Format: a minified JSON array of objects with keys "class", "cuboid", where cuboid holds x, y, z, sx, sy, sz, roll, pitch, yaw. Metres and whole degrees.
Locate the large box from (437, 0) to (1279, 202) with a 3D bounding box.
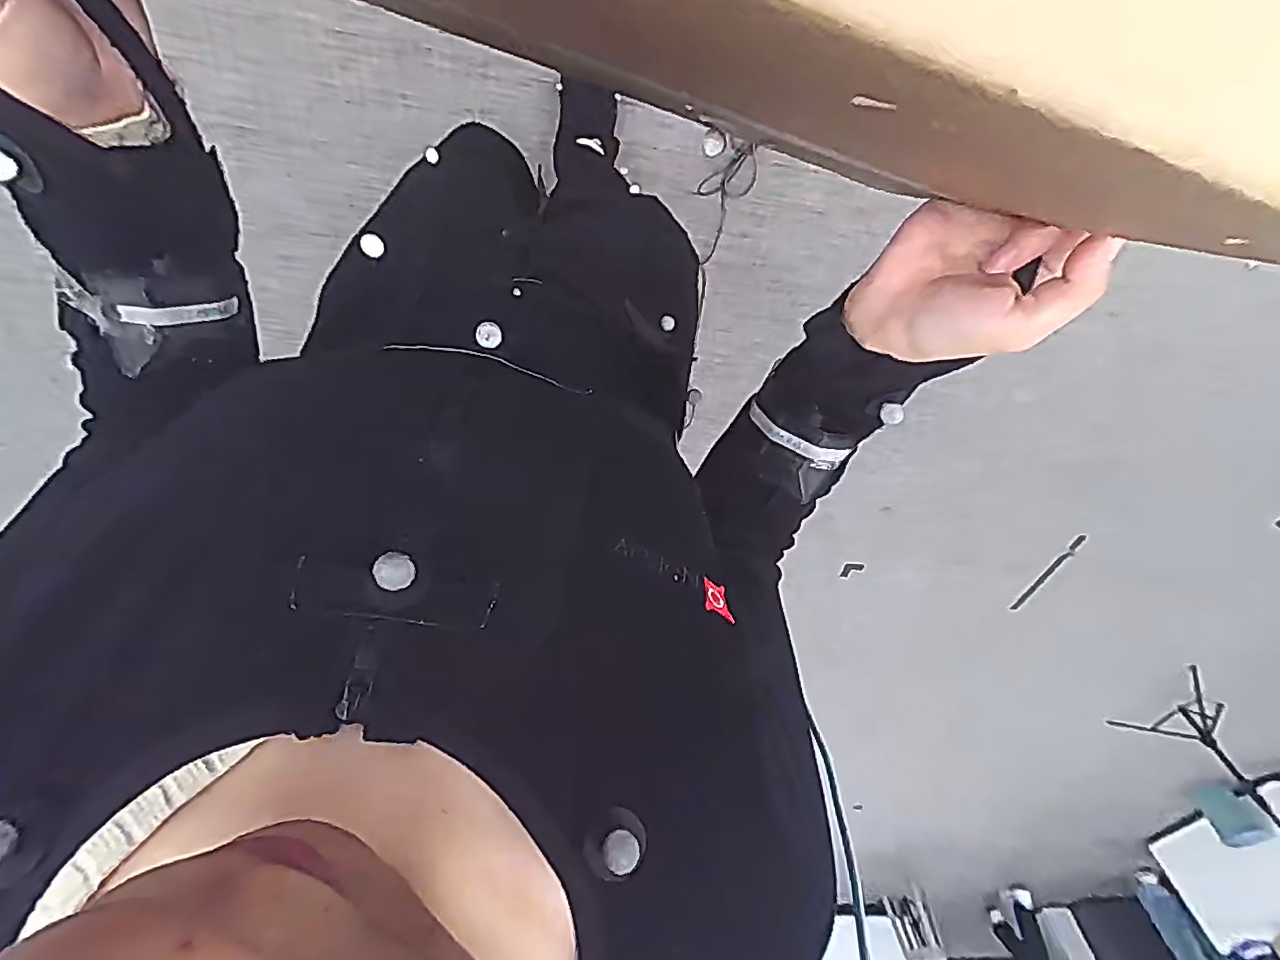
[{"class":"large box","cuboid":[0.023,-0.299,0.123,0.408,0.320,0.320,11,122,-12]}]
